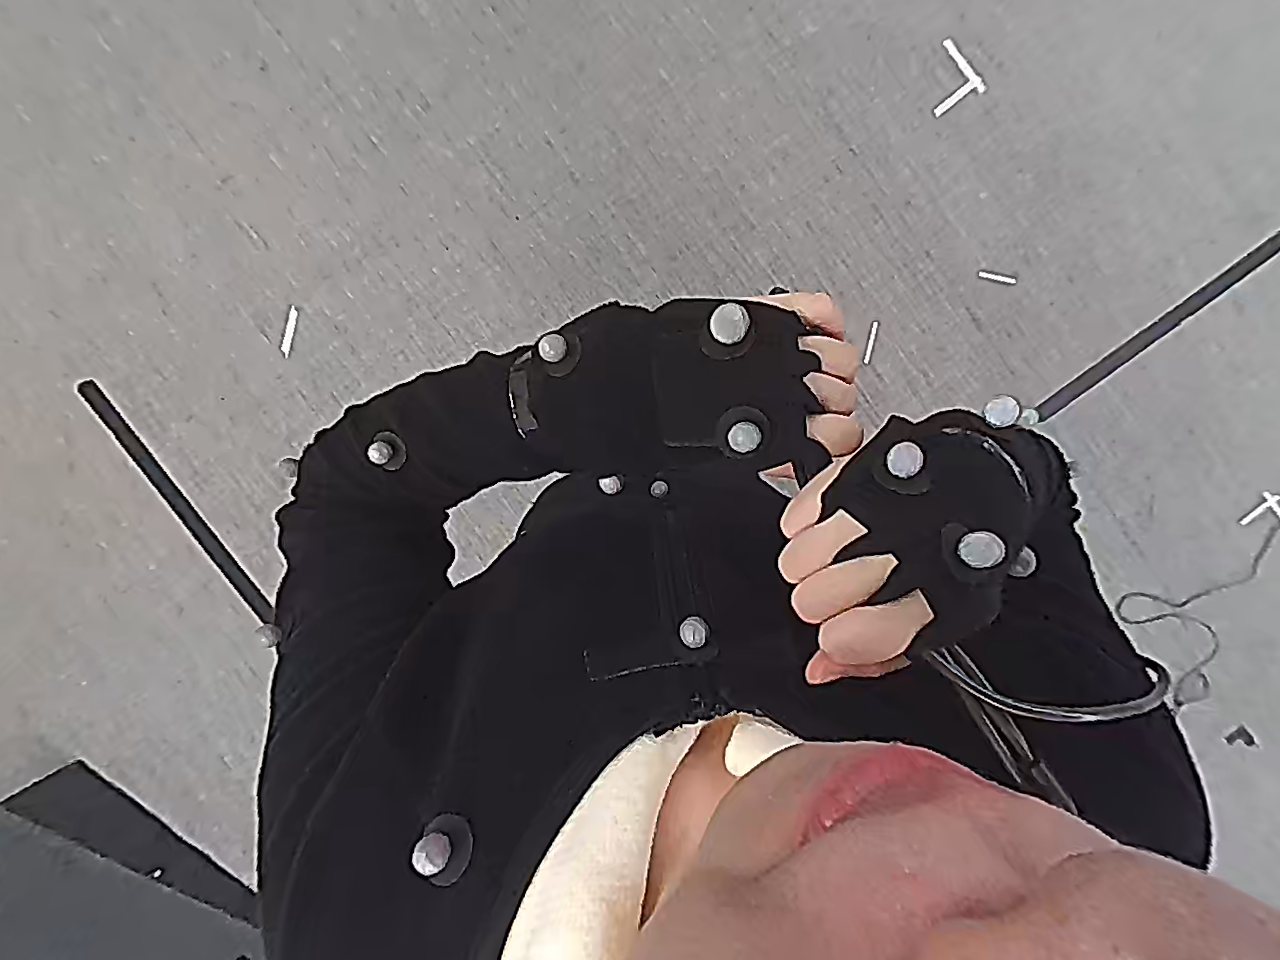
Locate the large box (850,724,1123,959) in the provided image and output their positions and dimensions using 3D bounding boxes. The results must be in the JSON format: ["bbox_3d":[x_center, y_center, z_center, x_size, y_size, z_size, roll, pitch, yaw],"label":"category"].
[{"bbox_3d":[0.744,0.851,1.221,0.320,0.320,0.408,23,92,-2],"label":"large box"}]
